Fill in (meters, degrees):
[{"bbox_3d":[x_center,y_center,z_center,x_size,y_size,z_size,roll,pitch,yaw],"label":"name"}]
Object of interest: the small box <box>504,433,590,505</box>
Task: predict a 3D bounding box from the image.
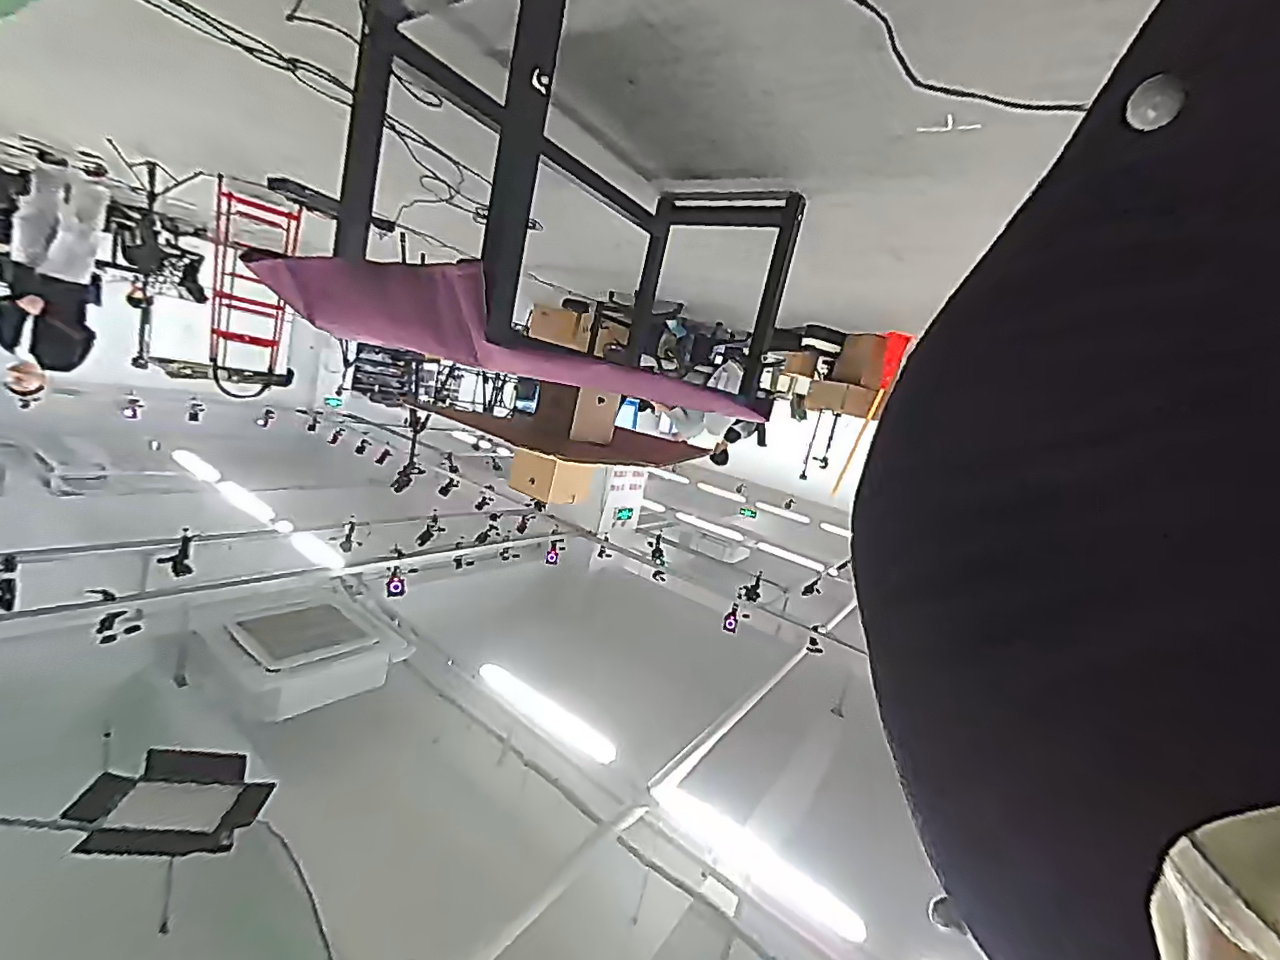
[{"bbox_3d":[-0.262,-0.034,1.561,0.179,0.176,0.168,20,-171,34],"label":"small box"}]
